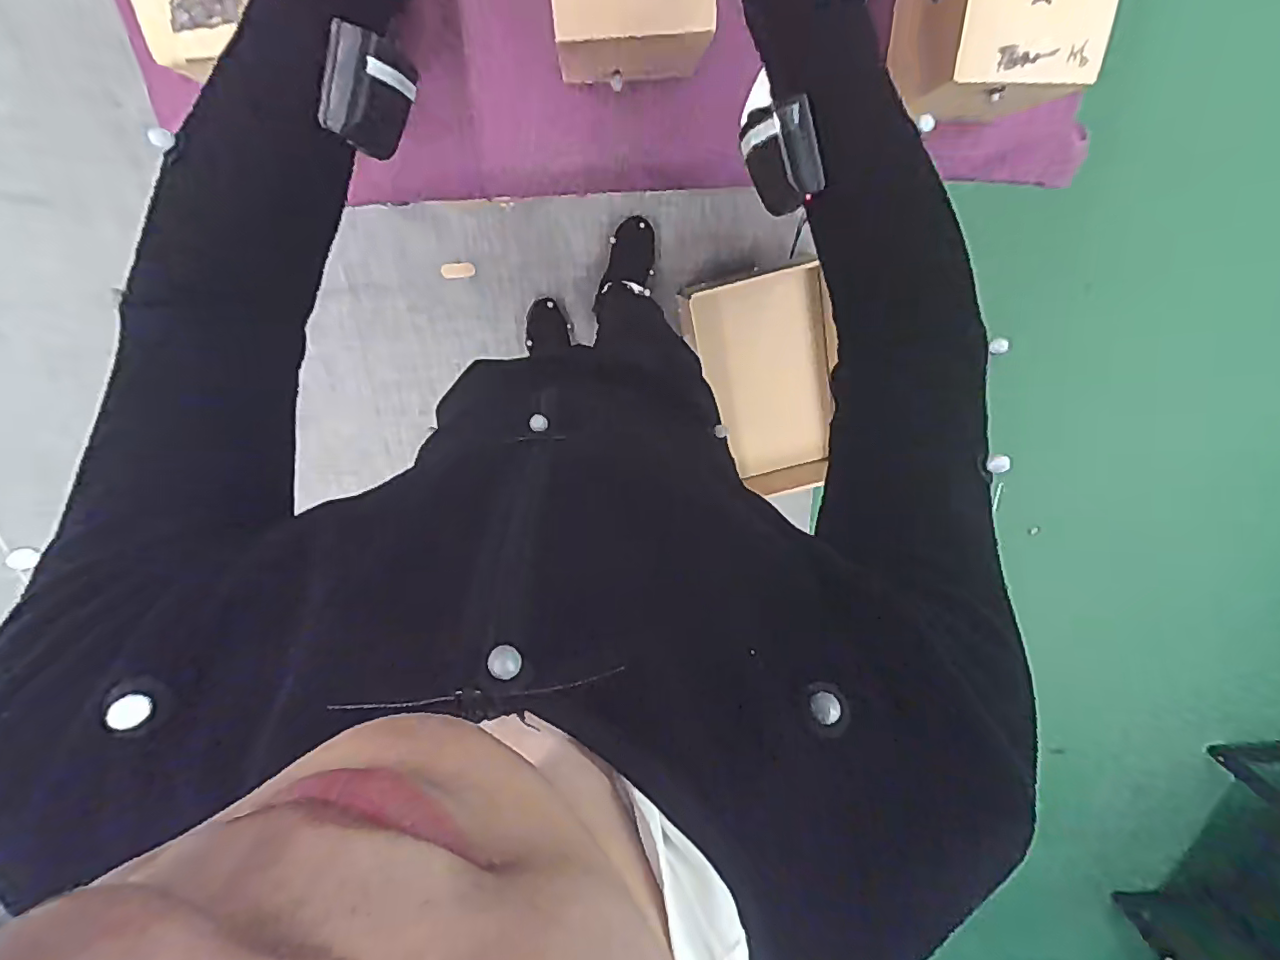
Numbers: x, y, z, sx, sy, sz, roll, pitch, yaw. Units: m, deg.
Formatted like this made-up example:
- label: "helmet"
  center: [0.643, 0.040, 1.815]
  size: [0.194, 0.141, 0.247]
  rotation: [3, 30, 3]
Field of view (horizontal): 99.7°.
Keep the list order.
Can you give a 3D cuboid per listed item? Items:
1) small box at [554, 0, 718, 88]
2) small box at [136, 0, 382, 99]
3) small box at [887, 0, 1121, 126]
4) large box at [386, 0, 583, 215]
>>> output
- label: "small box"
  center: [-0.013, -0.555, 0.585]
  size: [0.168, 0.176, 0.179]
  rotation: [-5, 114, -2]
- label: "small box"
  center: [-0.395, -0.519, 0.564]
  size: [0.168, 0.176, 0.179]
  rotation: [-6, 113, -3]
- label: "small box"
  center: [0.412, -0.536, 0.627]
  size: [0.168, 0.176, 0.179]
  rotation: [-1, 111, -3]
- label: "large box"
  center: [-0.304, -0.818, 1.167]
  size: [0.320, 0.320, 0.408]
  rotation: [-6, 113, -3]
